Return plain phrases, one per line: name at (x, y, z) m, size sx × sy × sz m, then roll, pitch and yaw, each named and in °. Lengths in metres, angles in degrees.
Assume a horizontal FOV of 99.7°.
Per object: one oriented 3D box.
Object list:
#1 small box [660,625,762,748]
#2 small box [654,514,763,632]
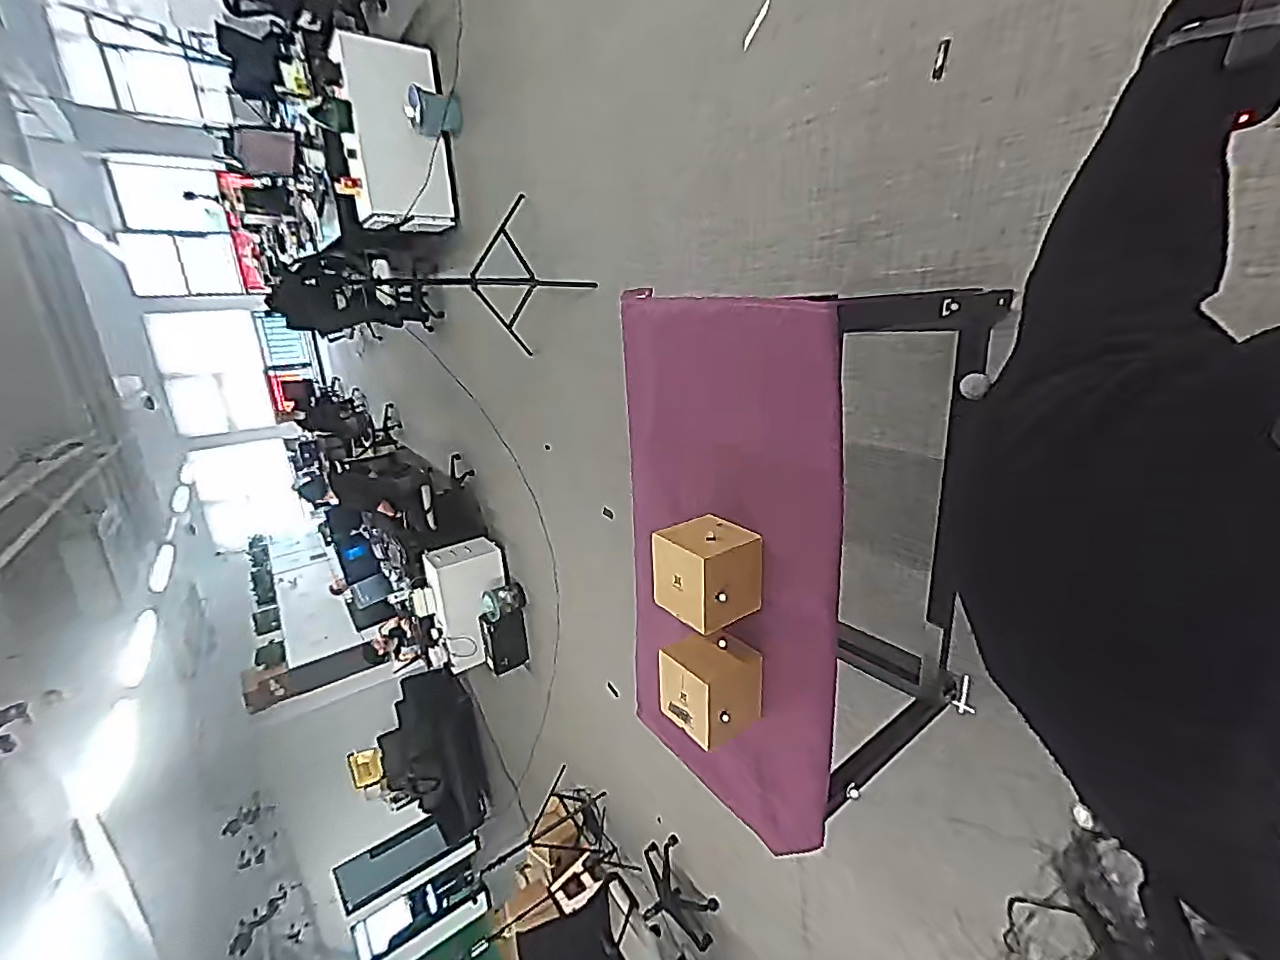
small box at (0.163, 0.460, 1.239) m, size 0.168 × 0.176 × 0.179 m, roll 21°, pitch 119°, yaw 51°
small box at (0.147, 0.187, 1.158) m, size 0.168 × 0.176 × 0.179 m, roll 22°, pitch 121°, yaw 51°
